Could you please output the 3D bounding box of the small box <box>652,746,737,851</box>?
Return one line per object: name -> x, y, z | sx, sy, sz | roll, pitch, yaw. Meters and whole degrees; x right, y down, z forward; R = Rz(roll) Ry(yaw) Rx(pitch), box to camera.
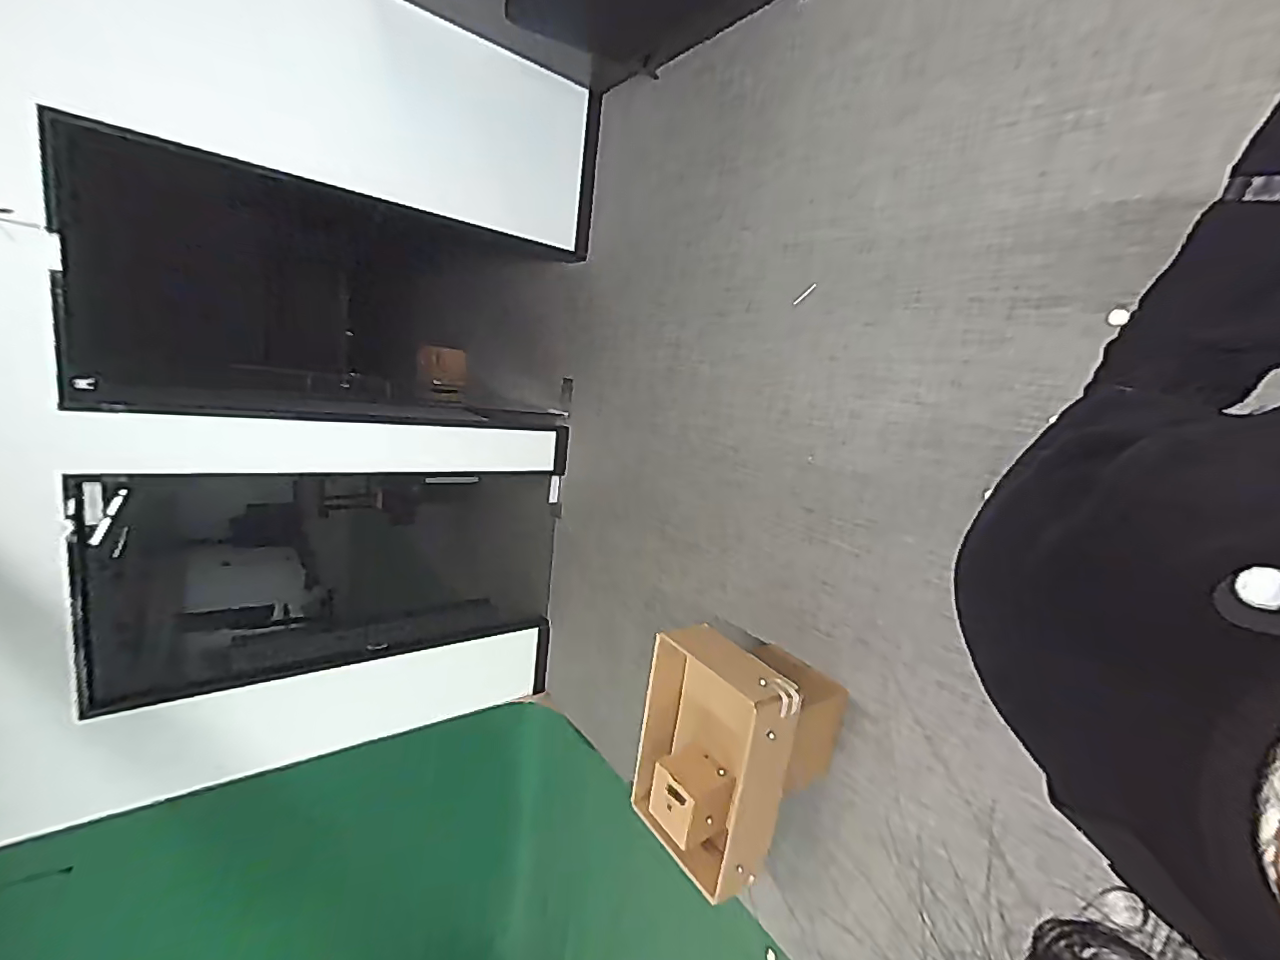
small box -> 0.161, 0.913, 1.571 | 0.168, 0.176, 0.179 | 25, 110, 50
